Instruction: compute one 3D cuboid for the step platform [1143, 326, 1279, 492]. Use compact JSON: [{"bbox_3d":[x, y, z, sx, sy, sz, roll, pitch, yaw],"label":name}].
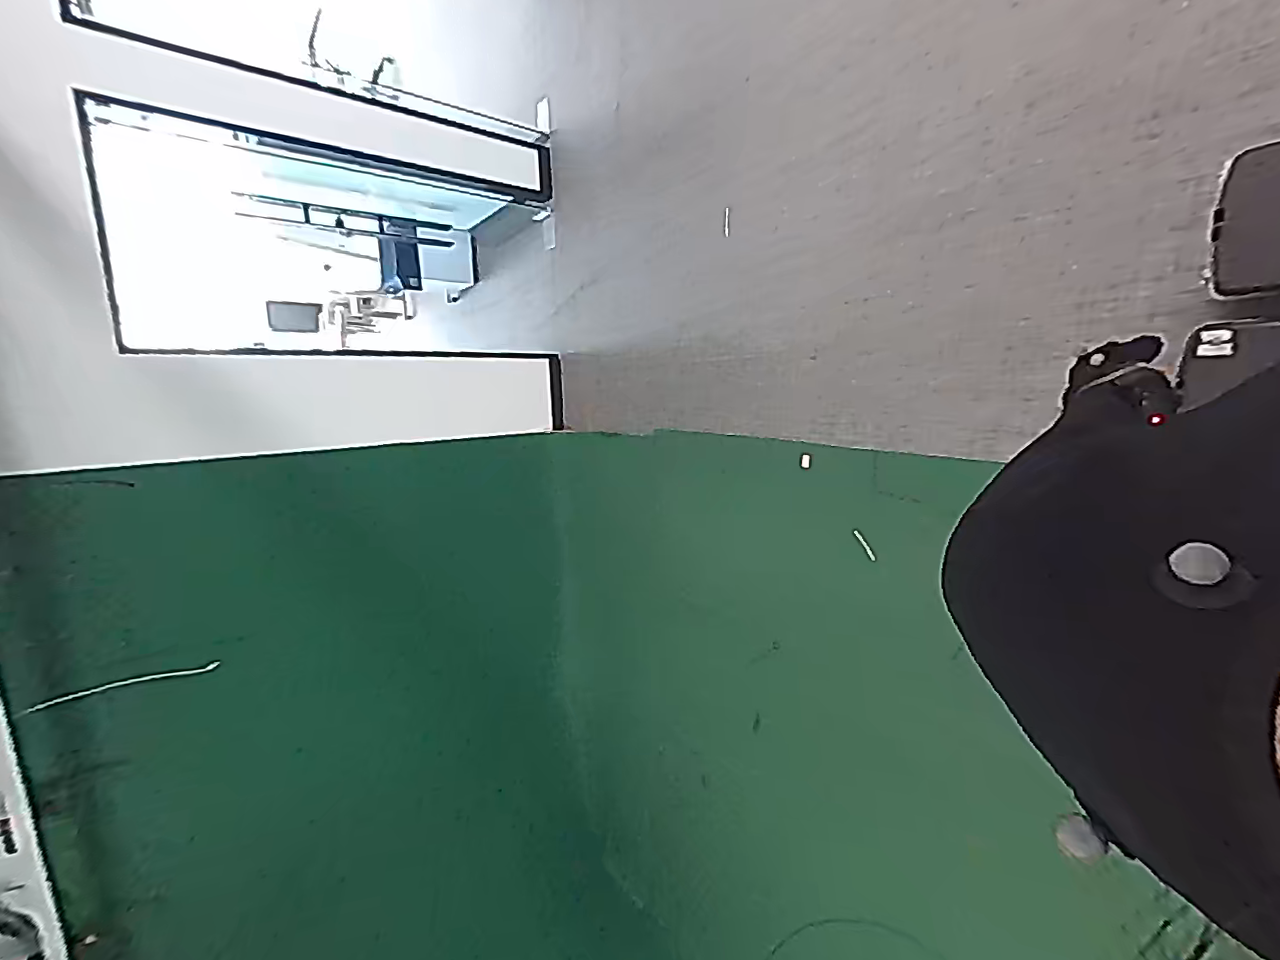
[{"bbox_3d":[1.210,-0.098,0.783,0.684,0.204,0.286,11,105,50],"label":"step platform"}]
